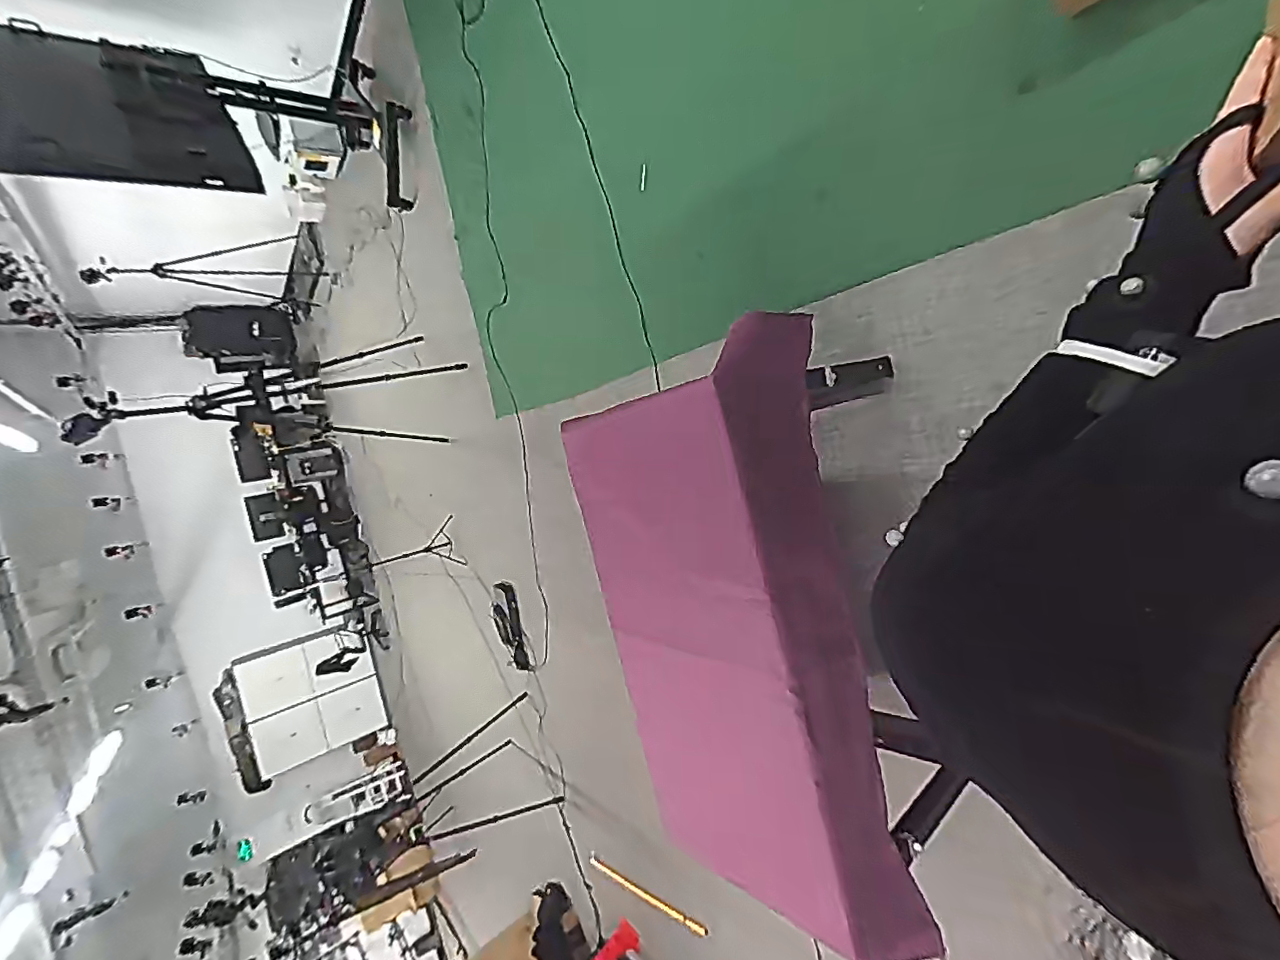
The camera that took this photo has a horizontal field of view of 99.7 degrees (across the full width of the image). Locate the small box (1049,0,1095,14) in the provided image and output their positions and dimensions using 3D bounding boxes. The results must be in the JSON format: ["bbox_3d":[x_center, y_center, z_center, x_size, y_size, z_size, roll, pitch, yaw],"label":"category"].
[{"bbox_3d":[0.834,-0.996,0.965,0.179,0.176,0.168,-3,99,53],"label":"small box"}]
